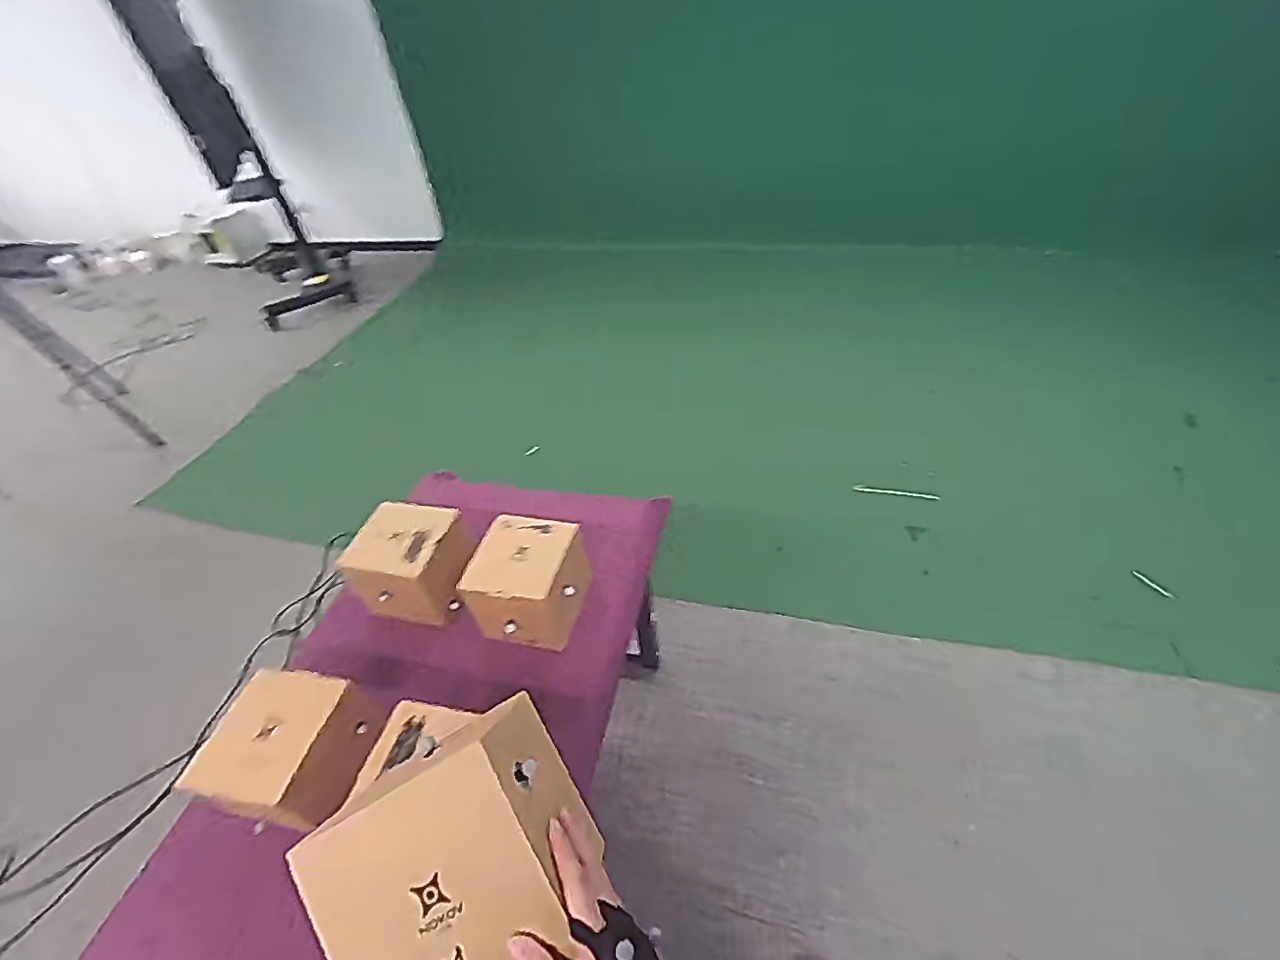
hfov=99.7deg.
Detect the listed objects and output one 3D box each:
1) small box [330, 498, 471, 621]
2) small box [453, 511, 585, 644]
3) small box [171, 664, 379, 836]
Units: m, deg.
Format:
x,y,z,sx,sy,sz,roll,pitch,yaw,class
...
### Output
x,y,z,sx,sy,sz,roll,pitch,yaw,class
-0.456,0.160,1.073,0.179,0.176,0.168,5,45,14,small box
-0.213,0.184,1.013,0.168,0.176,0.179,6,47,15,small box
-0.534,0.411,0.828,0.168,0.176,0.179,4,46,12,small box
